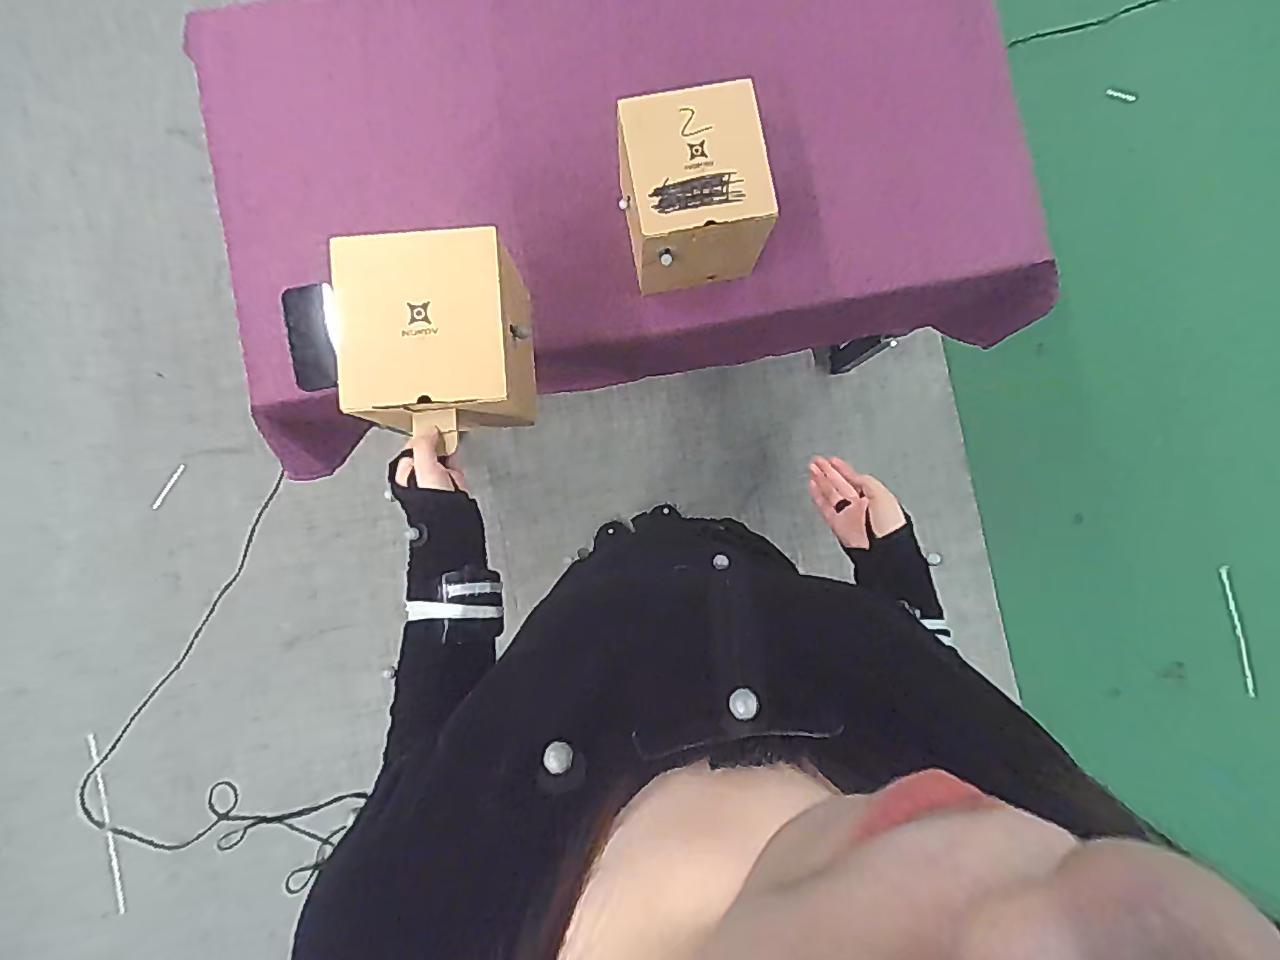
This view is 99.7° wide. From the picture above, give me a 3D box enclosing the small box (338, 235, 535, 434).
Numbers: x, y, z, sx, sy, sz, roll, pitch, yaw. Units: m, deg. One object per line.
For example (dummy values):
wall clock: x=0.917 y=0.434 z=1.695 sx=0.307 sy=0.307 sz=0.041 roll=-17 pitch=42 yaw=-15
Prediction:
small box: x=-0.219 y=-0.154 z=0.620 sx=0.168 sy=0.176 sz=0.179 roll=-4 pitch=88 yaw=-1
